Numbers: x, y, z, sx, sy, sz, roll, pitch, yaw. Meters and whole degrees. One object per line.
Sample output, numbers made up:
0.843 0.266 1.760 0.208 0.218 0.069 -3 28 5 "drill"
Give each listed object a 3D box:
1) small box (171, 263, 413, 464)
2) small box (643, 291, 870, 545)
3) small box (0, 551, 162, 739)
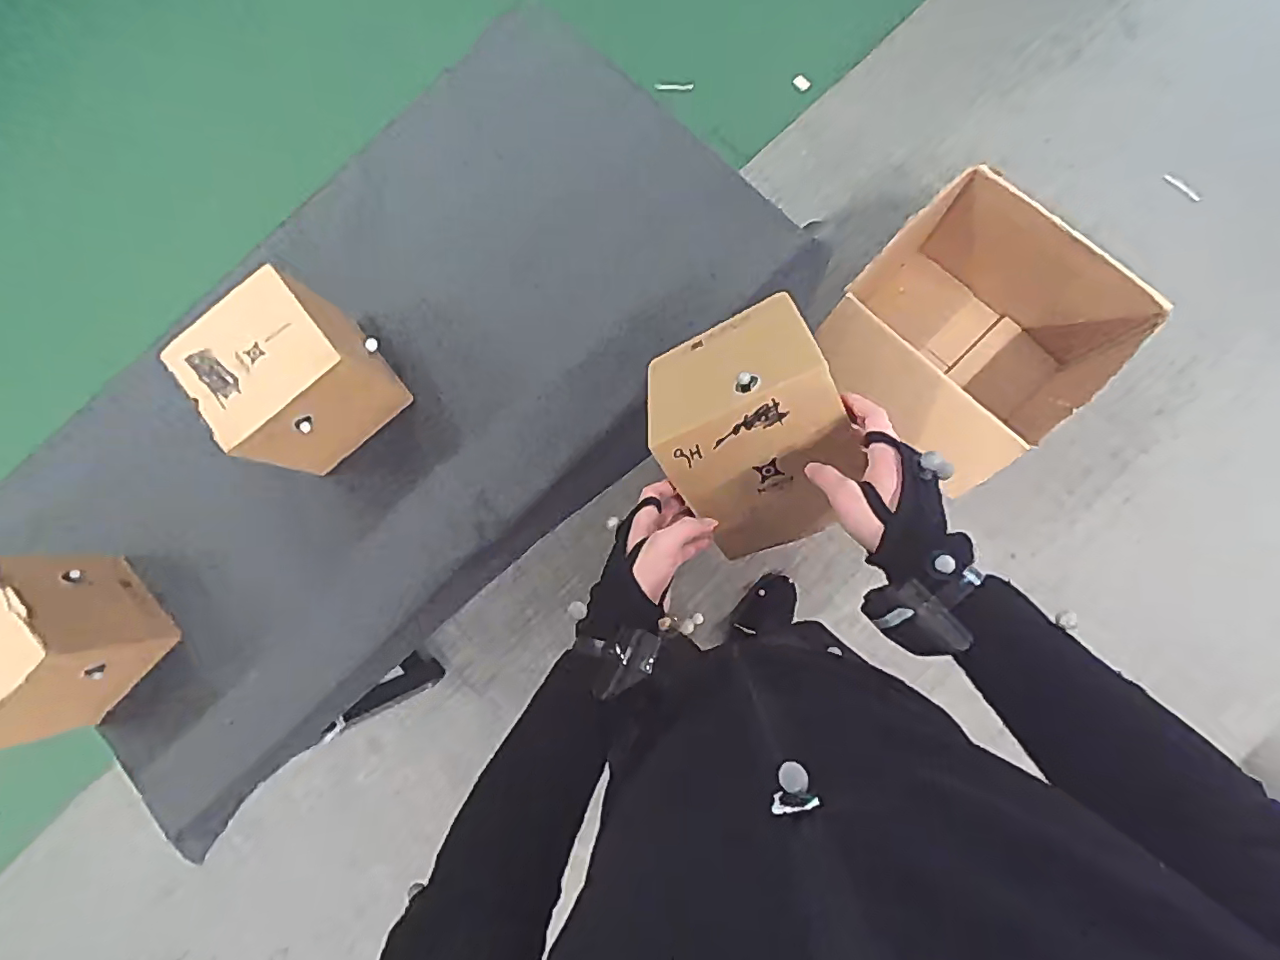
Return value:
-0.446 -0.140 0.720 0.179 0.176 0.168 -37 82 1 "small box"
0.119 -0.067 0.579 0.168 0.176 0.179 -25 123 21 "small box"
-0.776 0.203 0.695 0.168 0.176 0.179 44 89 11 "small box"
